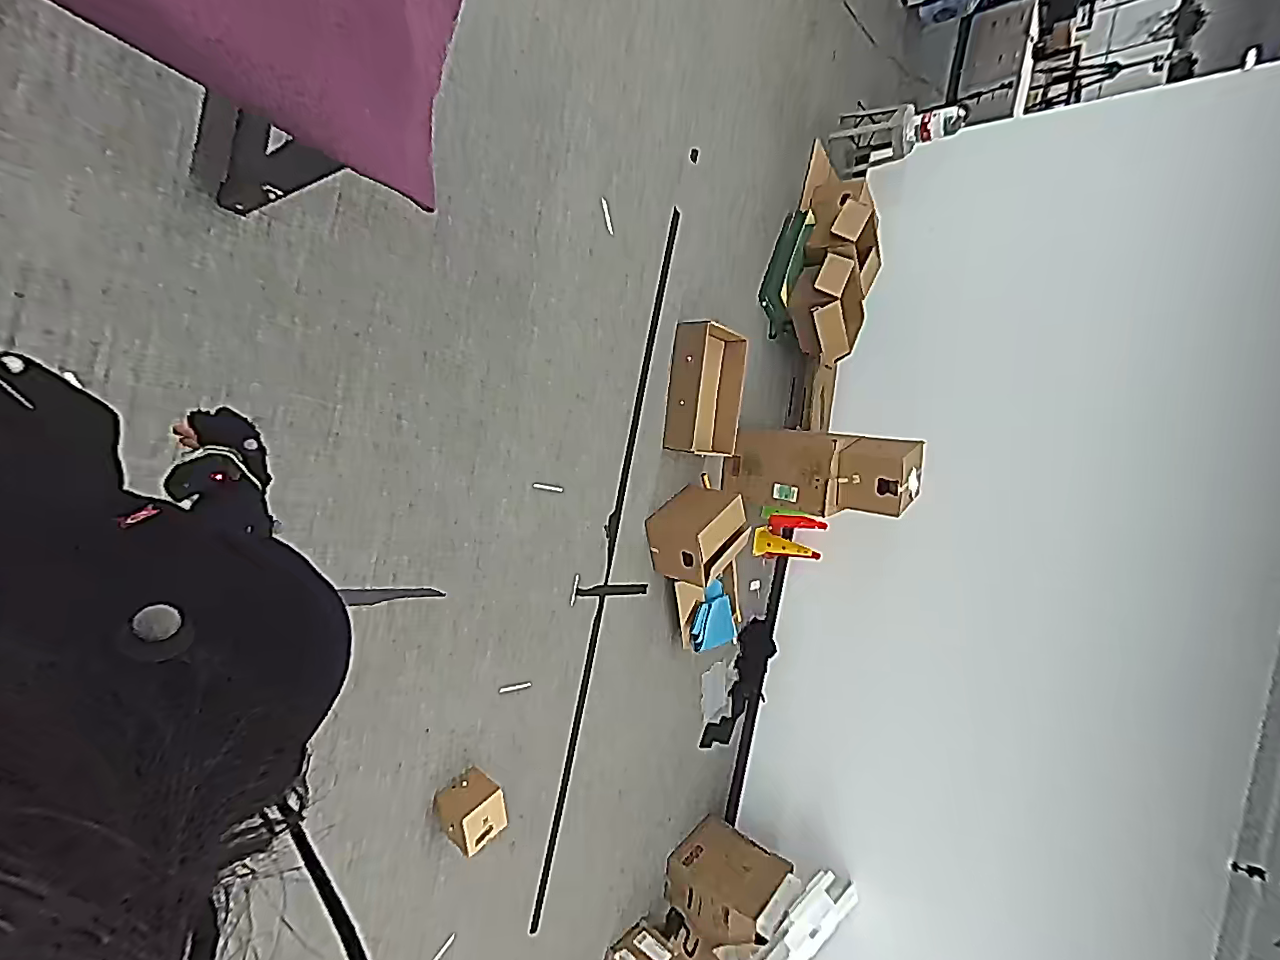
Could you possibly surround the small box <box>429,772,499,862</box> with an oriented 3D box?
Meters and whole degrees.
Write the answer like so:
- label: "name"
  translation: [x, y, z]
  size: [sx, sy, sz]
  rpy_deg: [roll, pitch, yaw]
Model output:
- label: "small box"
  translation: [-0.627, 1.188, 1.922]
  size: [0.168, 0.176, 0.179]
  rpy_deg: [-22, 115, -48]
